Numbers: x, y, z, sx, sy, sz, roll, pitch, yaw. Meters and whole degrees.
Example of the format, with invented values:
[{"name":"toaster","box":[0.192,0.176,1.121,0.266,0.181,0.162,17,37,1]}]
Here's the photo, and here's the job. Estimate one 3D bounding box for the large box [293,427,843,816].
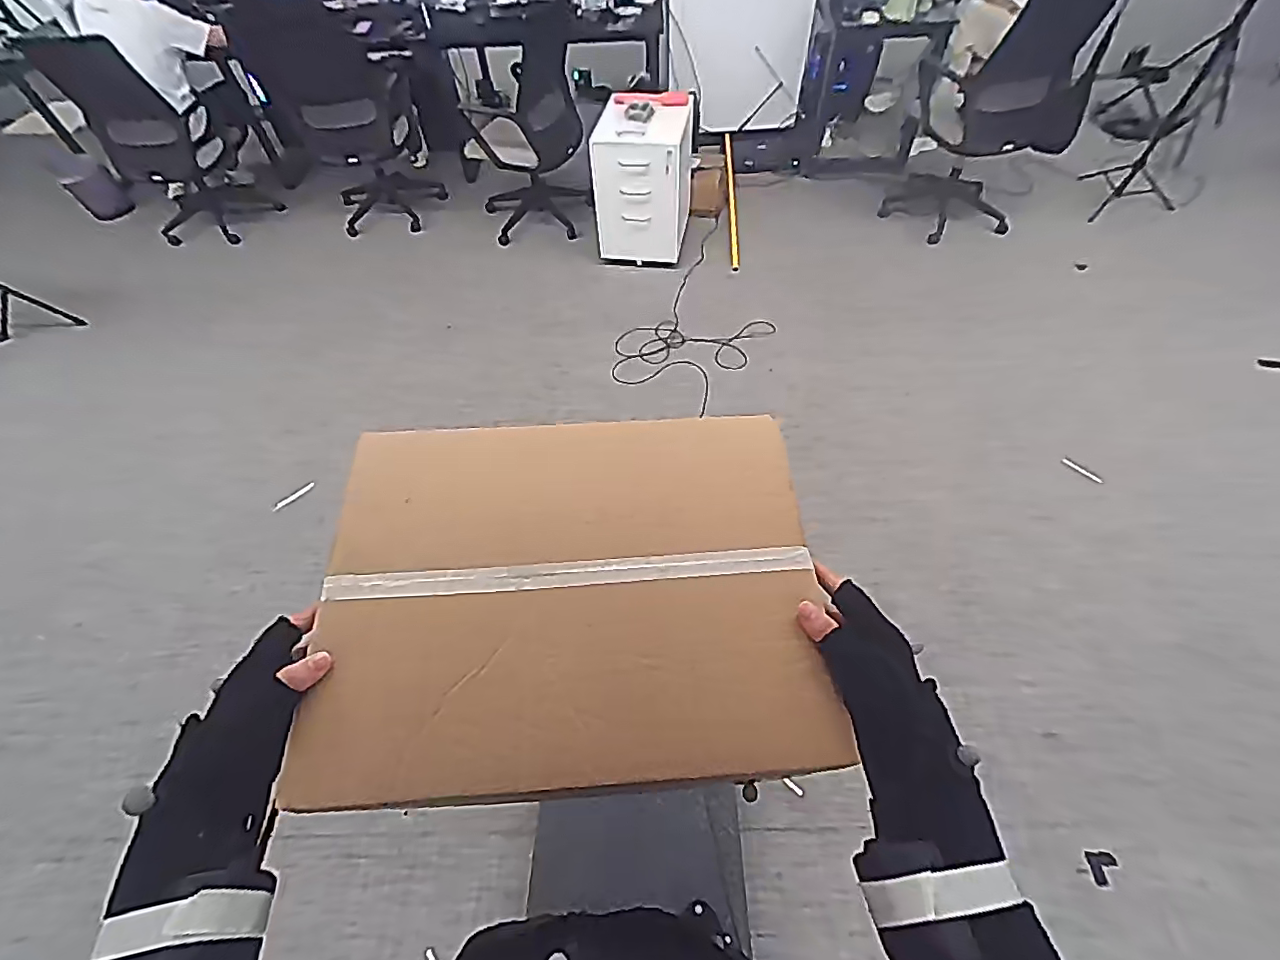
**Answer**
[{"name":"large box","box":[-0.059,0.163,0.589,0.408,0.320,0.320,-3,59,-3]}]
